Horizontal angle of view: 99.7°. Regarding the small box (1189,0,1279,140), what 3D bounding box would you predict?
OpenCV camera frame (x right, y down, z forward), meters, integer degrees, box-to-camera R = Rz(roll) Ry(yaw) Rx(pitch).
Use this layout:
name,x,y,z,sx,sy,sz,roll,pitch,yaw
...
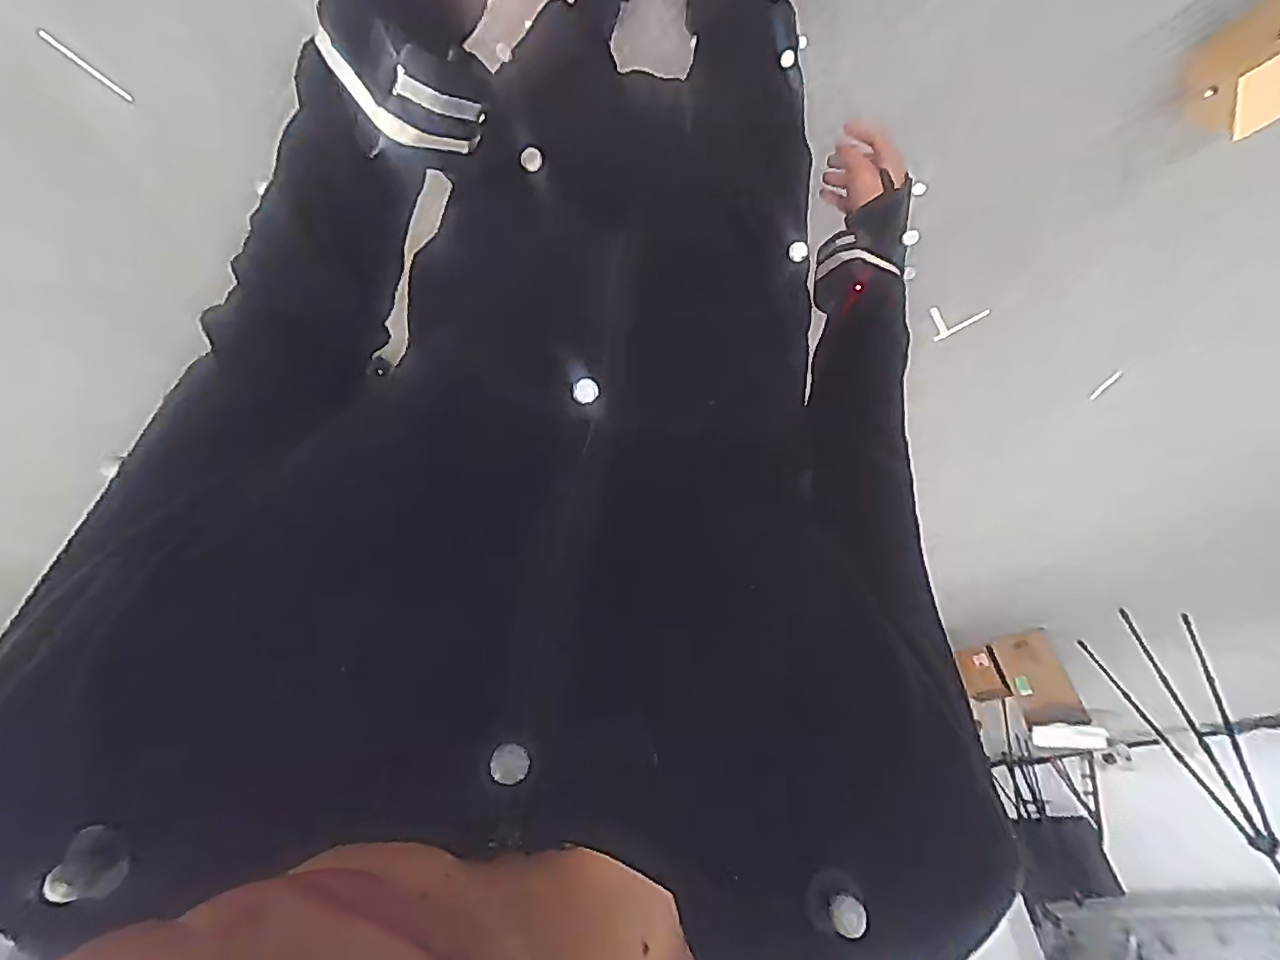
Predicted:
name,x,y,z,sx,sy,sz,roll,pitch,yaw
small box,1.359,-0.903,1.182,0.179,0.176,0.168,-29,136,28
